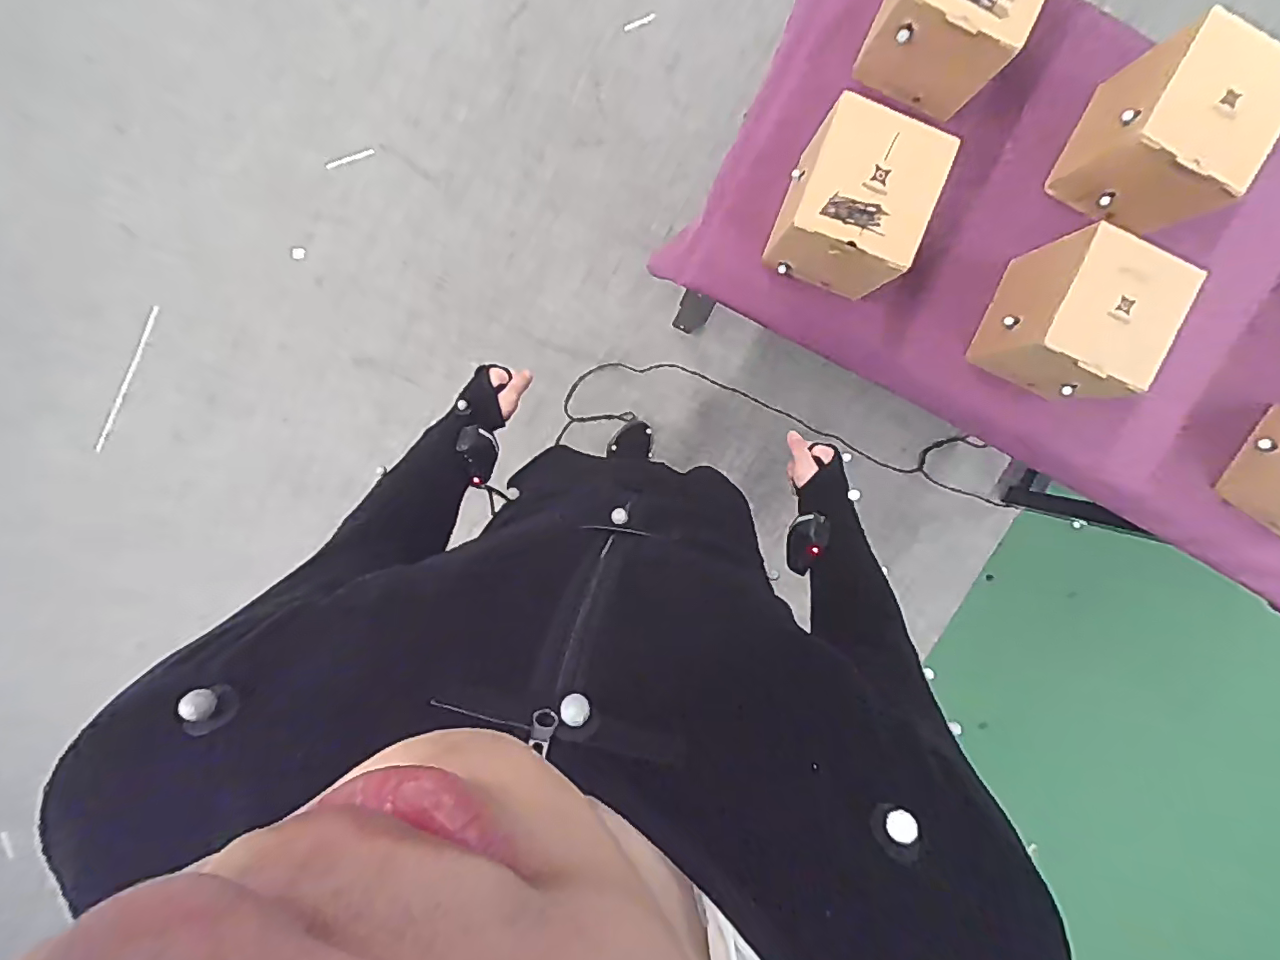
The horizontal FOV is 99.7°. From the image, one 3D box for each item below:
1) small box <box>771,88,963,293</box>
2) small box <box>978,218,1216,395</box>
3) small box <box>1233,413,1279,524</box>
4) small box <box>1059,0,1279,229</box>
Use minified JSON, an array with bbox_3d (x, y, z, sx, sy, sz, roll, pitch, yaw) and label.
[{"bbox_3d":[0.299,-0.386,0.759,0.168,0.176,0.179,21,94,-3],"label":"small box"},{"bbox_3d":[0.635,-0.233,0.781,0.168,0.176,0.179,24,95,-4],"label":"small box"},{"bbox_3d":[1.070,-0.007,0.807,0.168,0.176,0.179,32,95,-3],"label":"small box"},{"bbox_3d":[0.745,-0.488,0.752,0.168,0.176,0.179,26,97,-4],"label":"small box"}]
